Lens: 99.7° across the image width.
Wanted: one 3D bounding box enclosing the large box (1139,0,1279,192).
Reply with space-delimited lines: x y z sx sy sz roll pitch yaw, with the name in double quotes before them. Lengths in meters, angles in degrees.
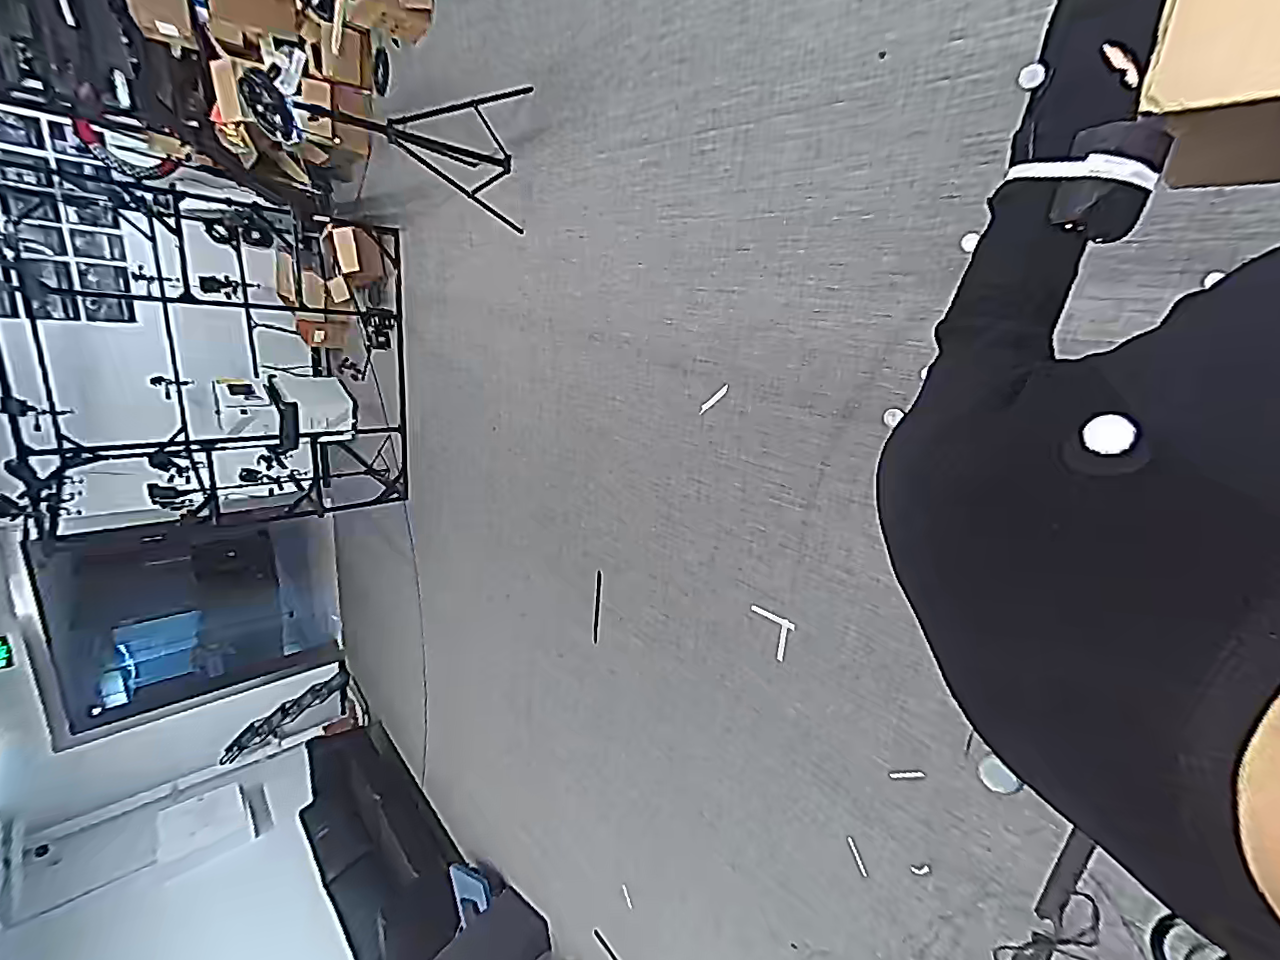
"large box" 0.594 -0.377 0.301 0.408 0.320 0.320 20 116 42
